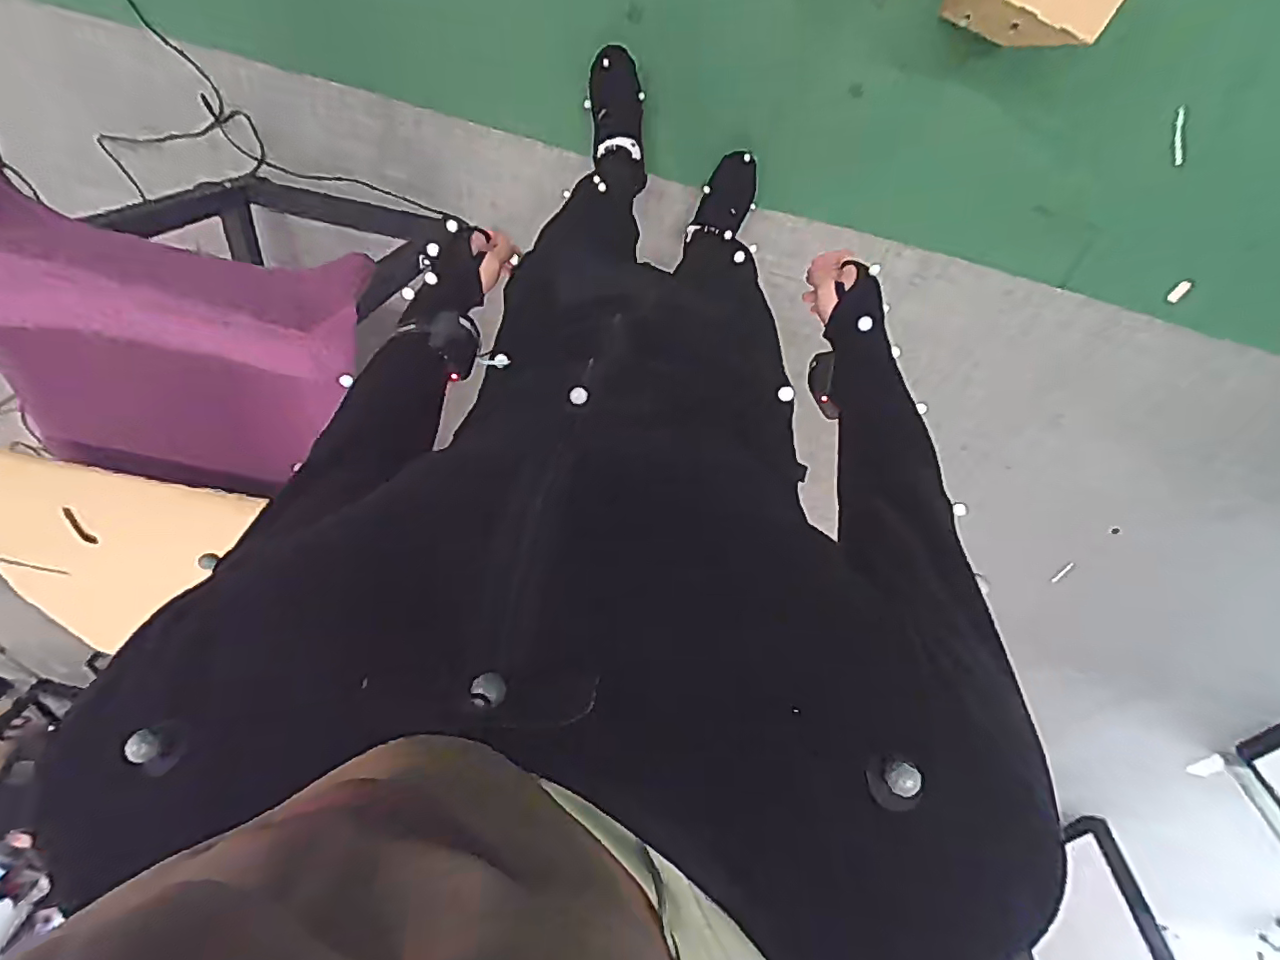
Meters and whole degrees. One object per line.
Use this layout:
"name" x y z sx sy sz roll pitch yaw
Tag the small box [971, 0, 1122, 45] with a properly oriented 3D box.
"small box" 0.662 -0.814 0.840 0.168 0.176 0.179 19 129 -7
